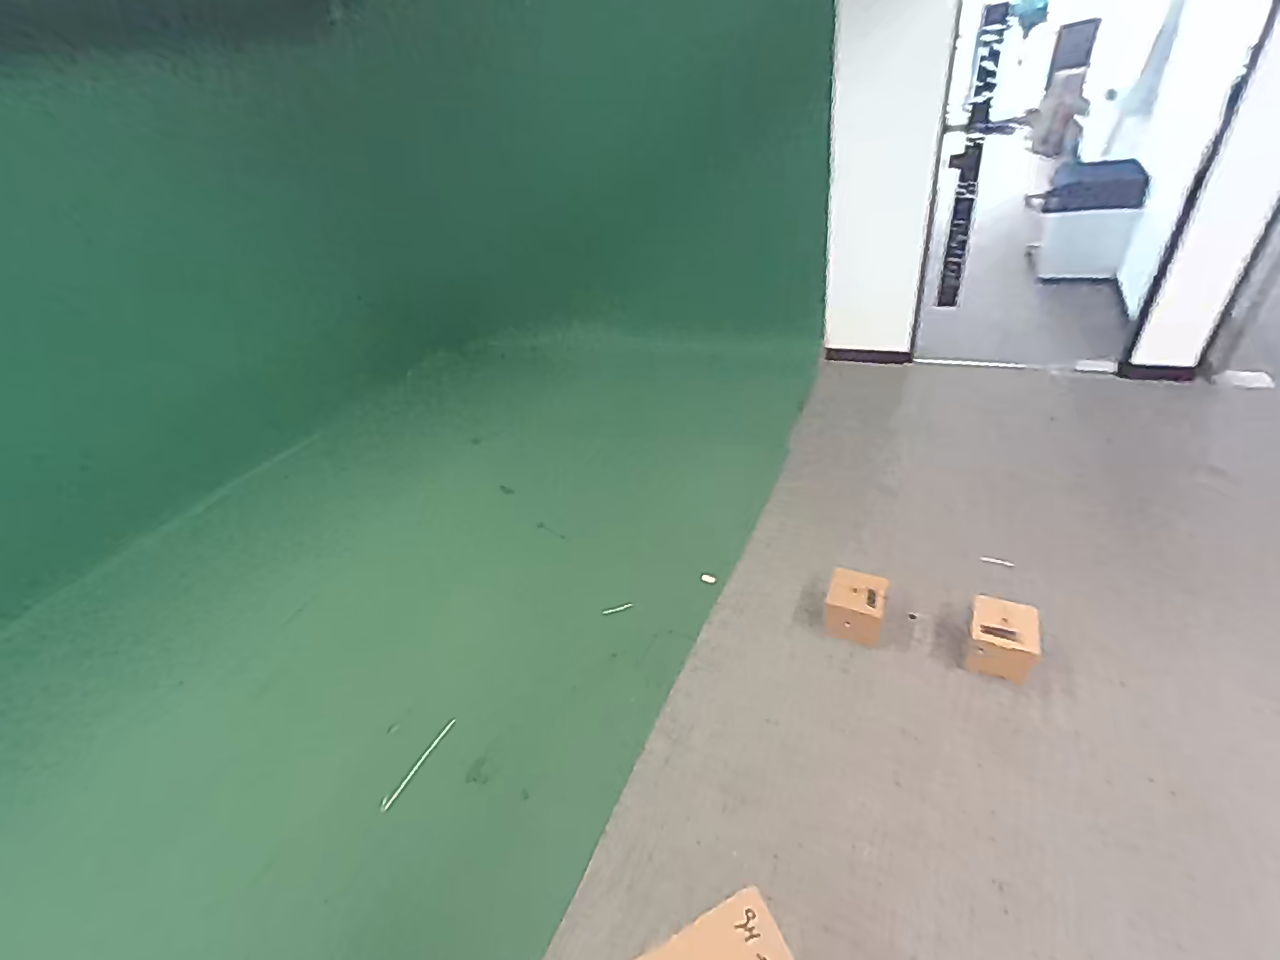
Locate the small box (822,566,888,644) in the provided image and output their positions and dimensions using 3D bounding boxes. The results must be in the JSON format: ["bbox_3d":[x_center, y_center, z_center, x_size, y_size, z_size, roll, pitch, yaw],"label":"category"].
[{"bbox_3d":[0.716,0.420,1.806,0.179,0.176,0.168,11,43,28],"label":"small box"}]
